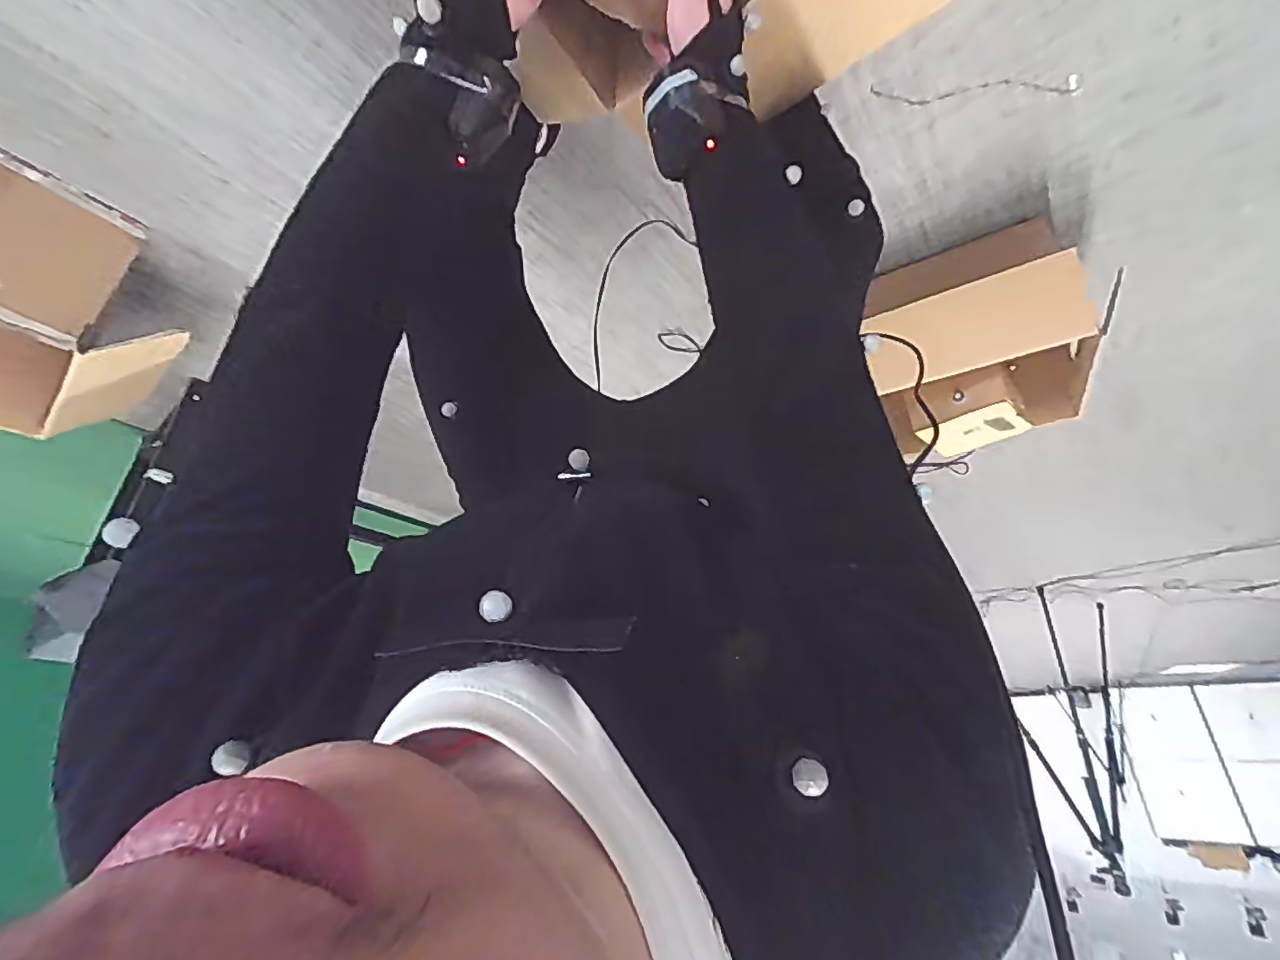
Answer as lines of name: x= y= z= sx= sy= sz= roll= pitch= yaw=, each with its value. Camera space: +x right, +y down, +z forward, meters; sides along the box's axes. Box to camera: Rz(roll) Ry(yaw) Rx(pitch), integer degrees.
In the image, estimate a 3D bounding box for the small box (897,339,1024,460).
small box: x=0.683 y=-0.171 z=1.163 sx=0.179 sy=0.176 sz=0.168 roll=-24 pitch=143 yaw=39
